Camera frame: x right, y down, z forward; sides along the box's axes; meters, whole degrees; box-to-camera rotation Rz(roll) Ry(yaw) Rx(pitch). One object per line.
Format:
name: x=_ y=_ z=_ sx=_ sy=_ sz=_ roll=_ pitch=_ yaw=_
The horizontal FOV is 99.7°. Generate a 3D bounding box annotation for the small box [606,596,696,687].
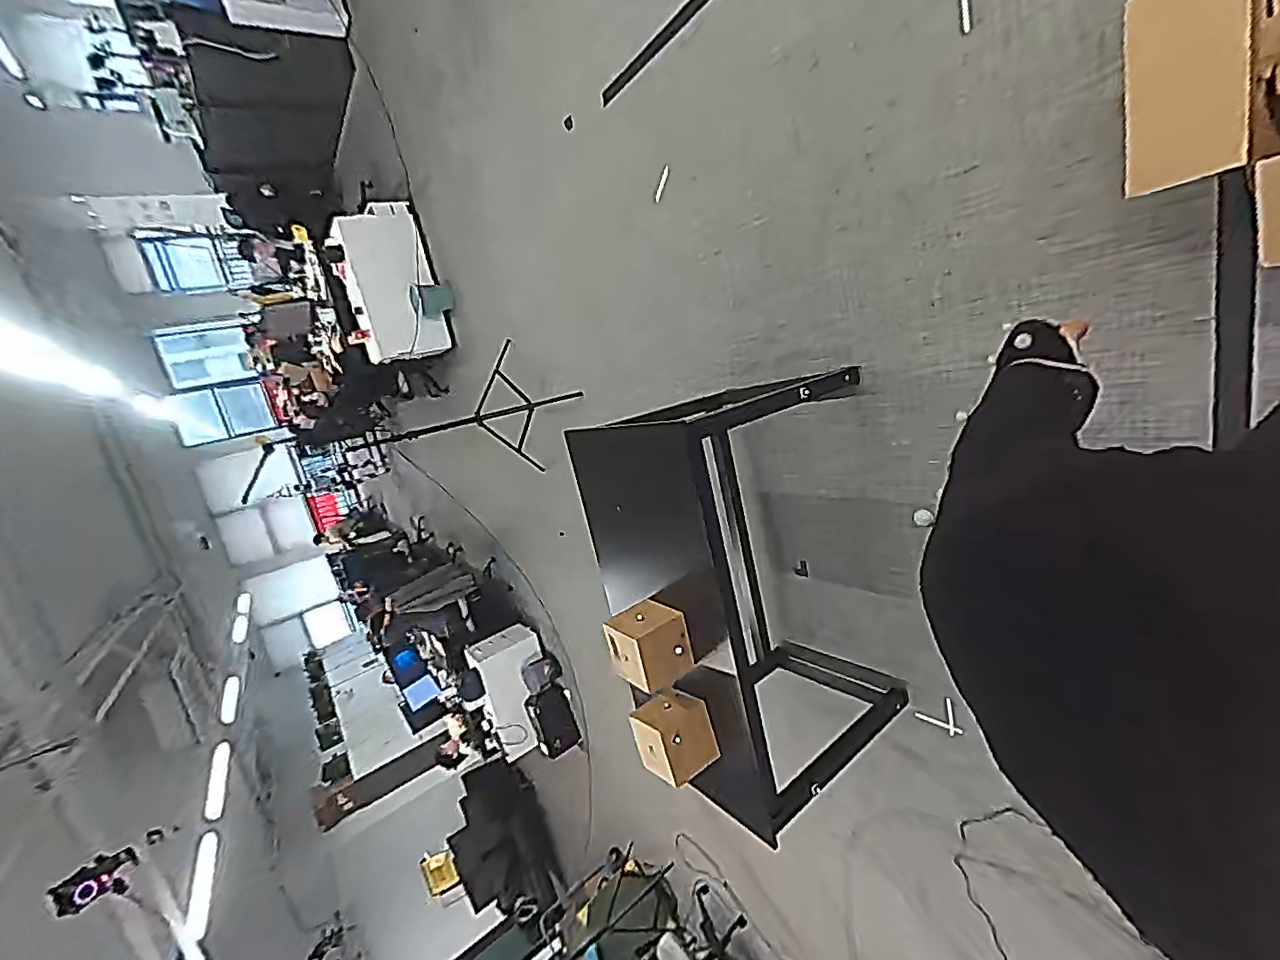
small box: x=0.032 y=0.449 z=1.537 sx=0.179 sy=0.176 sz=0.168 roll=5 pitch=112 yaw=55

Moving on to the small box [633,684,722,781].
small box: x=0.109 y=0.725 z=1.579 sx=0.168 sy=0.176 sz=0.179 roll=-9 pitch=100 yaw=58
